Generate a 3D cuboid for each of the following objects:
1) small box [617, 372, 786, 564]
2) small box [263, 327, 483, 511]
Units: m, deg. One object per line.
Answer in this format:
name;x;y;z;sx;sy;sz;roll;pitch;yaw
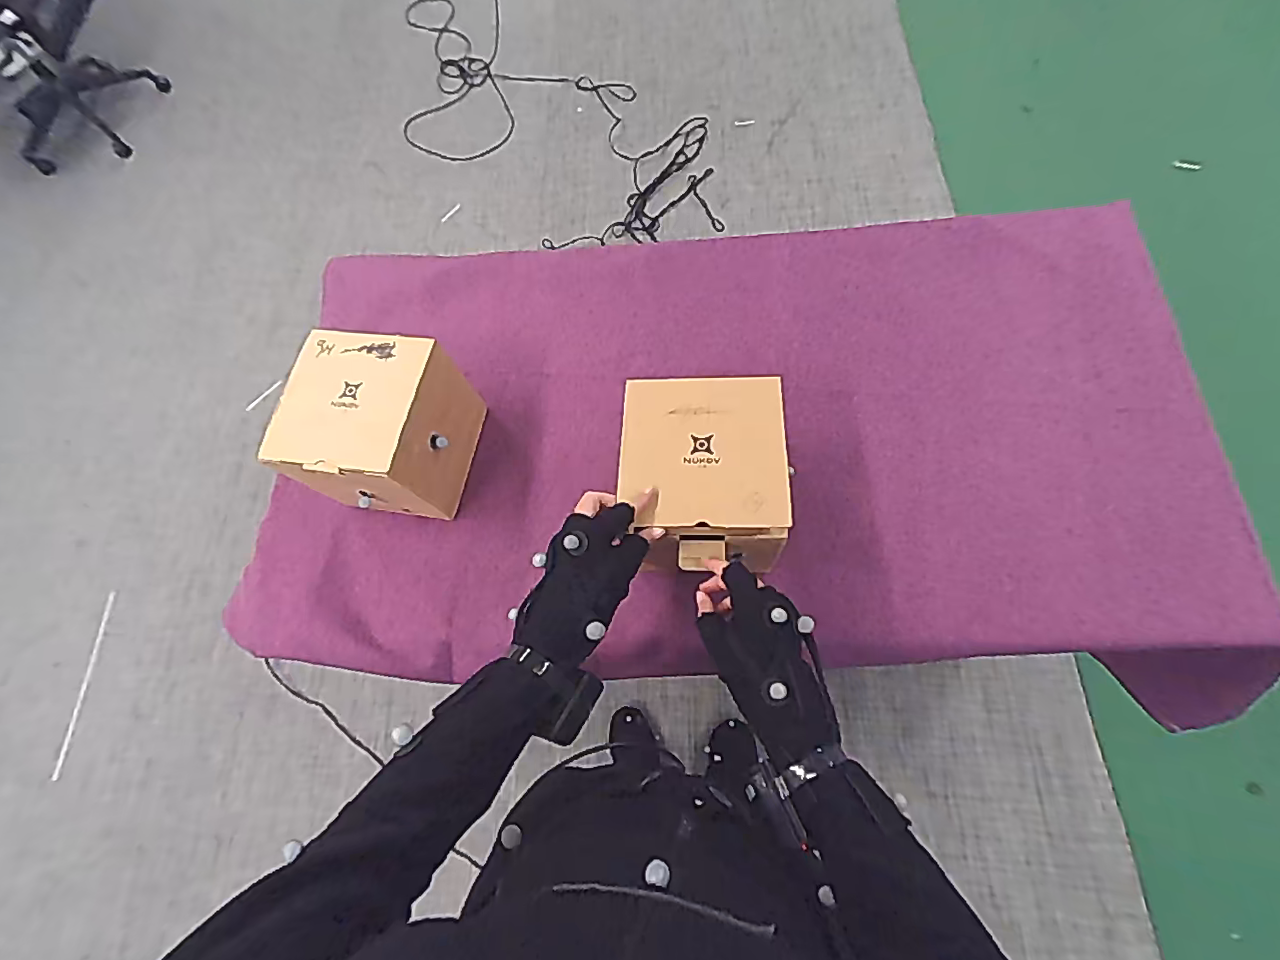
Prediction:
small box;0.072;-0.004;0.620;0.168;0.176;0.179;0;69;7
small box;-0.321;-0.069;0.691;0.168;0.176;0.179;7;71;9
